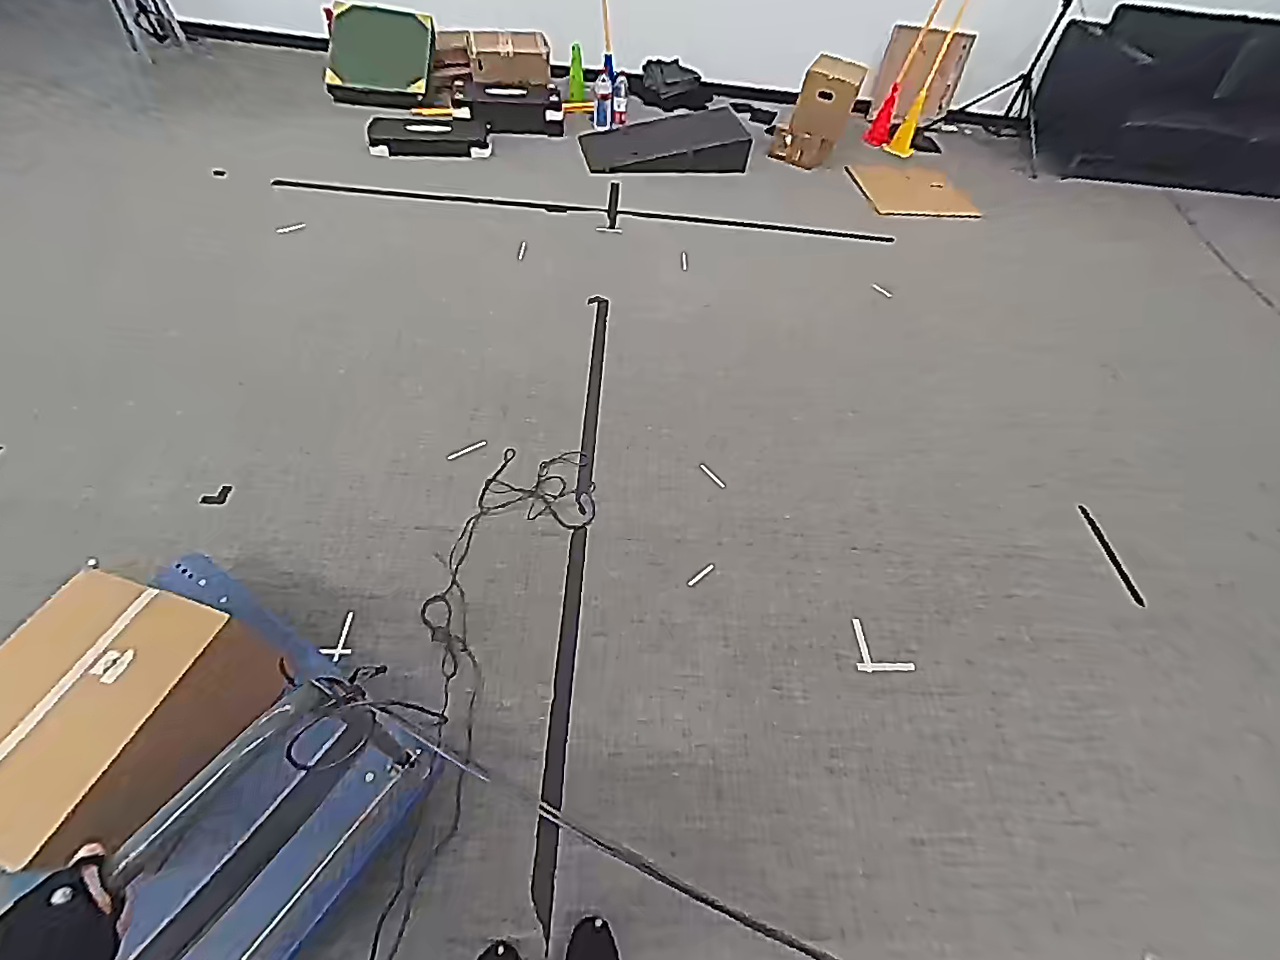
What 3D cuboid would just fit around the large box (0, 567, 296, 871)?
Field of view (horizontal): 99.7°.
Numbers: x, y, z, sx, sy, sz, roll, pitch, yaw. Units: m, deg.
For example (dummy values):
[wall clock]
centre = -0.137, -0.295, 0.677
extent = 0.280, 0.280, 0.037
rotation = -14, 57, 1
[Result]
[large box]
centre = -0.962, 0.444, 1.009
extent = 0.320, 0.320, 0.408
rotation = 17, 53, 5
